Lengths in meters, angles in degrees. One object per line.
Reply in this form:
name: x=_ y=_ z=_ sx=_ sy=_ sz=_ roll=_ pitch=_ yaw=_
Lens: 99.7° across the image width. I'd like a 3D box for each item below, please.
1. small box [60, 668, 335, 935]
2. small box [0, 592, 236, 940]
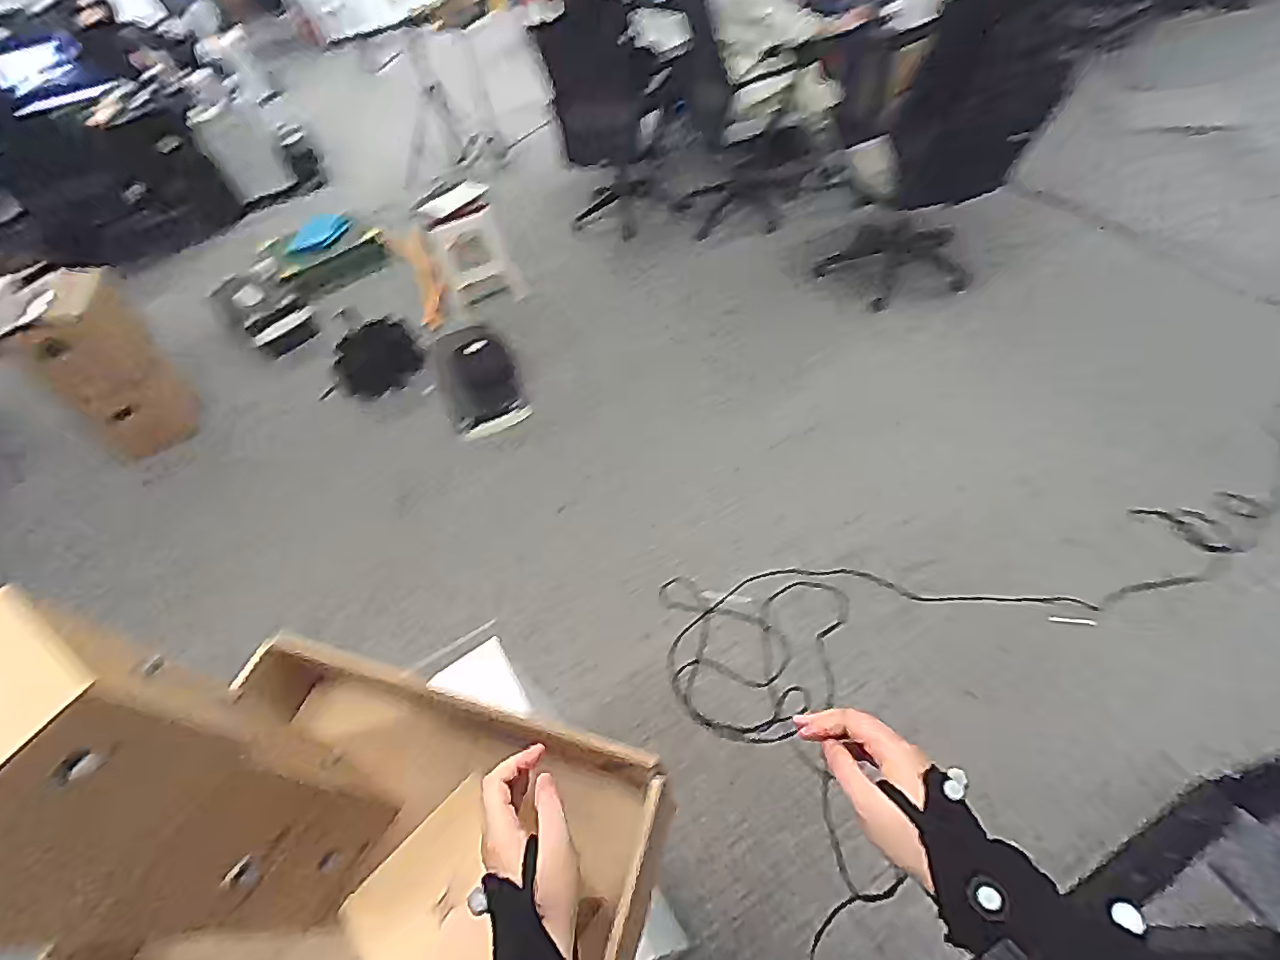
small box: x=-0.476 y=0.331 z=0.572 sx=0.179 sy=0.176 sz=0.168 roll=25 pitch=62 yaw=25
small box: x=-0.483 y=0.229 z=0.441 sx=0.168 sy=0.176 sz=0.179 roll=20 pitch=60 yaw=25
